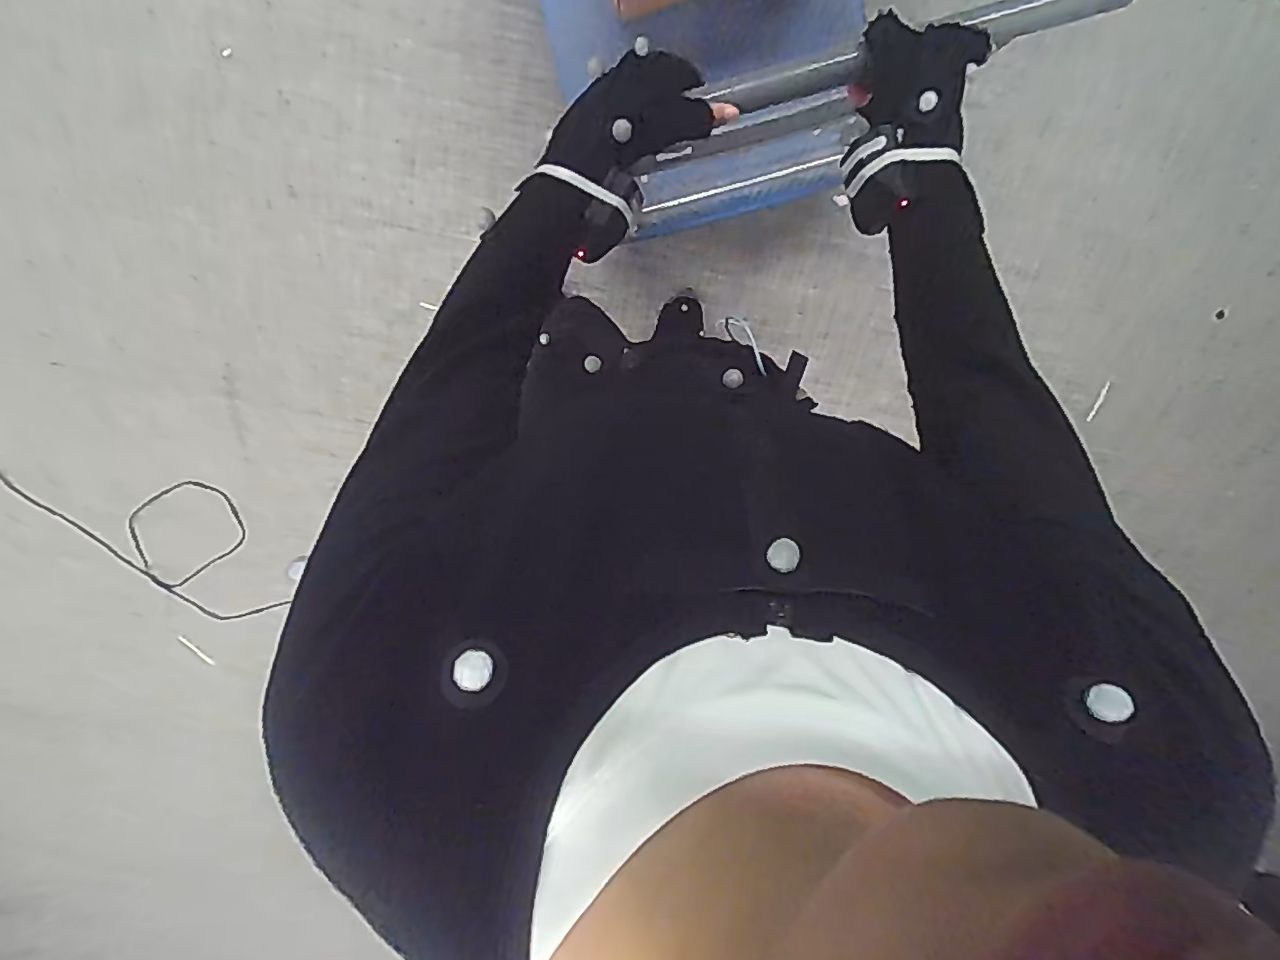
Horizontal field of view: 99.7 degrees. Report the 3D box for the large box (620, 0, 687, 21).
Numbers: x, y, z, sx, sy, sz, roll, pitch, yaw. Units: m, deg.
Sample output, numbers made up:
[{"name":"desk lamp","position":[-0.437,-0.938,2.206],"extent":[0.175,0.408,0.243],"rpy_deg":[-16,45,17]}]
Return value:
[{"name":"large box","position":[0.120,-0.985,0.798],"extent":[0.408,0.320,0.320],"rpy_deg":[-16,111,6]}]
